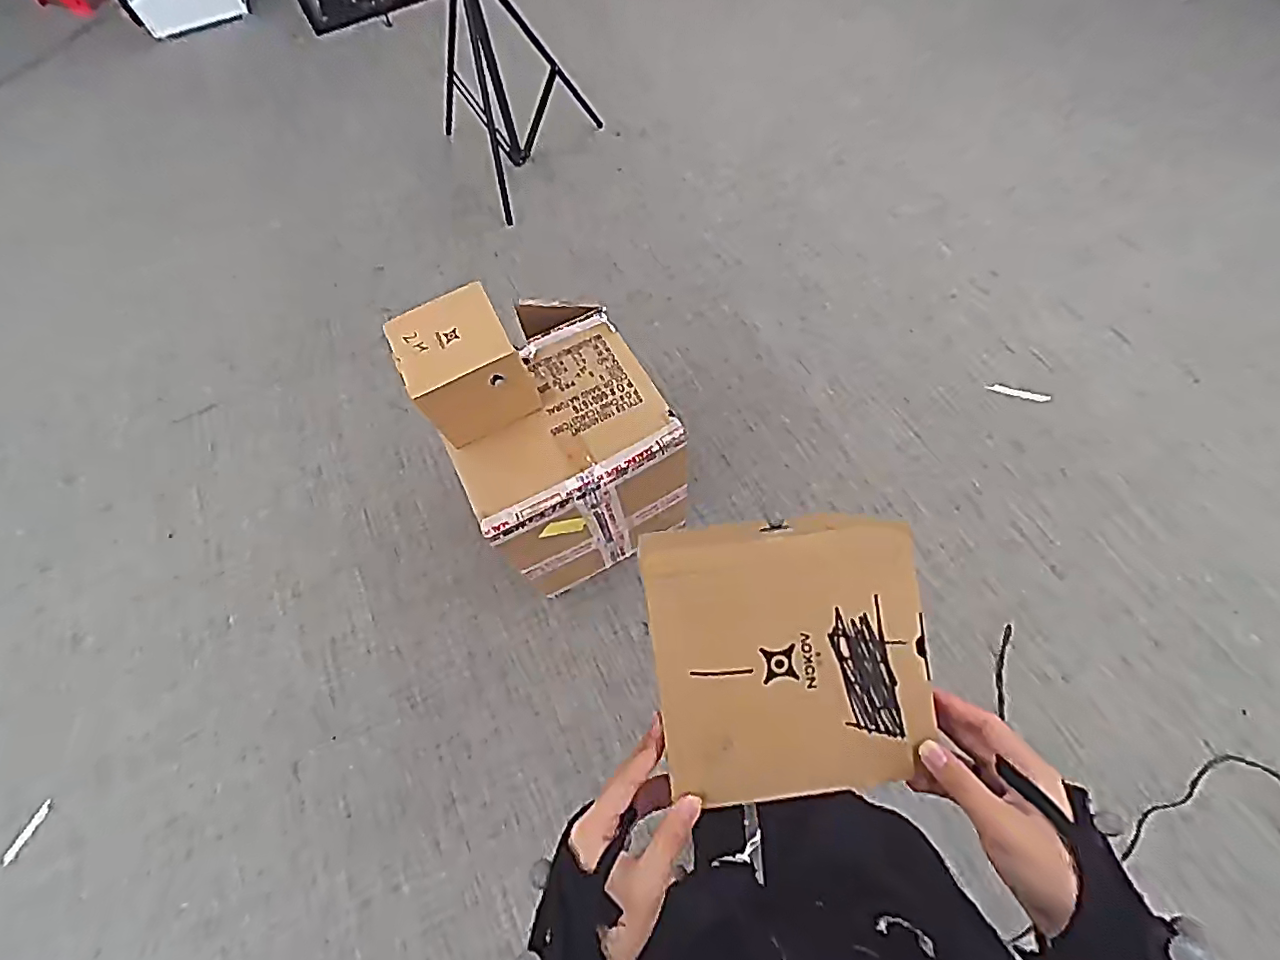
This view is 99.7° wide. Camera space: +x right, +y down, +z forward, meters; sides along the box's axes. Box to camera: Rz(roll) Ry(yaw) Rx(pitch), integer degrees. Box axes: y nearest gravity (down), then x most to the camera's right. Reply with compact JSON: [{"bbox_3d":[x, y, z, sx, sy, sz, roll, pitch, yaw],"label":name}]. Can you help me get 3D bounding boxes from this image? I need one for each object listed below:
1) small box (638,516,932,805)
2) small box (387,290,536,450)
[{"bbox_3d":[0.094,0.121,0.432,0.179,0.176,0.168,-8,87,0],"label":"small box"},{"bbox_3d":[-0.293,-0.182,0.928,0.179,0.176,0.168,-27,67,-5],"label":"small box"}]
